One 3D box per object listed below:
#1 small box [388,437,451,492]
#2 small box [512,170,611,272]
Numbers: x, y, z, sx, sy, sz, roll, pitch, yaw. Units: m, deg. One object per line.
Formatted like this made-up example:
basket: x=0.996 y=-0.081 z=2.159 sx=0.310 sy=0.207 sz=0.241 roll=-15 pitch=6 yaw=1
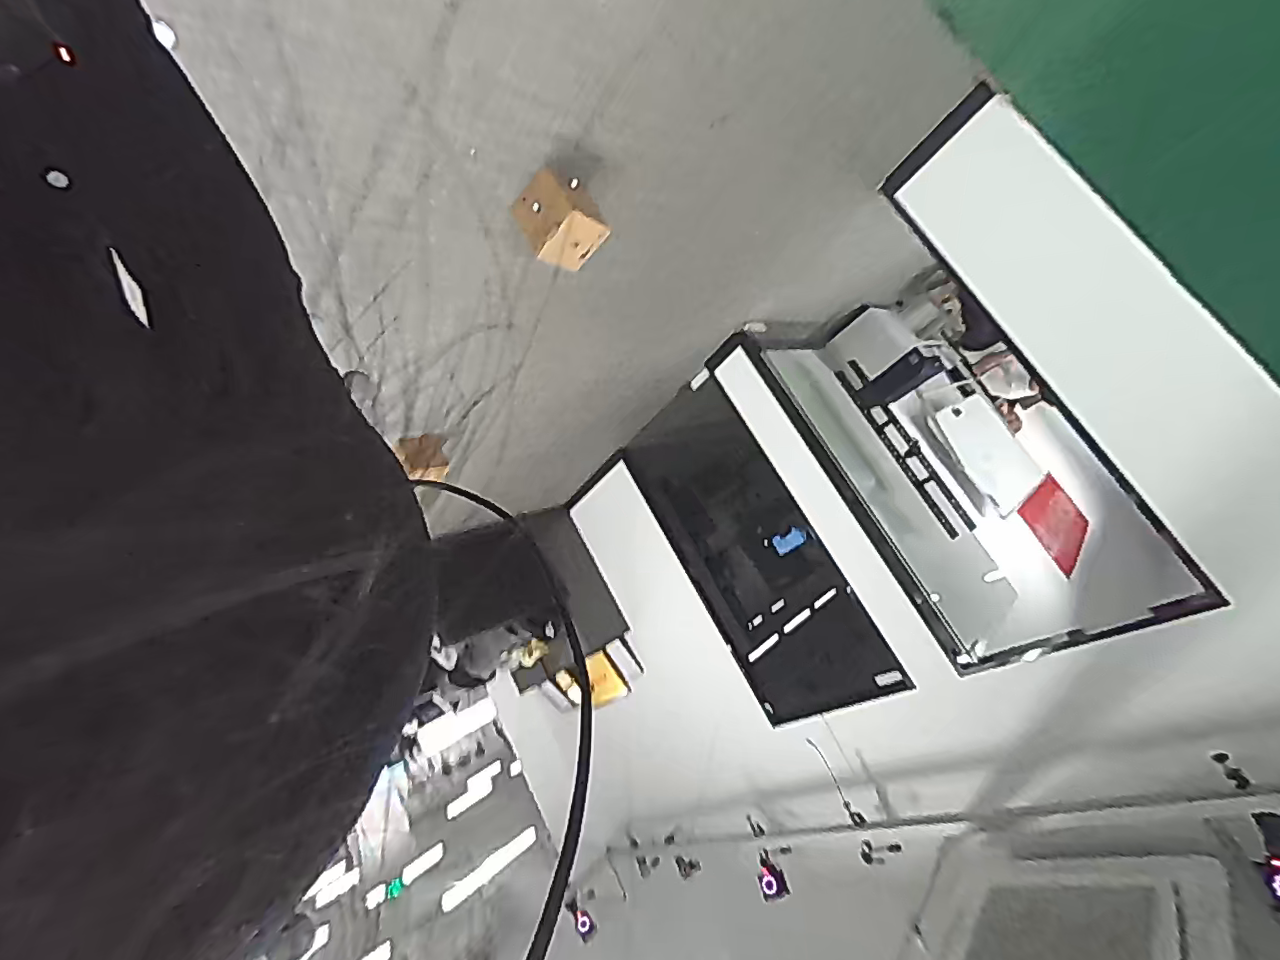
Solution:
small box: x=-0.955 y=-0.074 z=2.332 sx=0.179 sy=0.176 sz=0.168 roll=-15 pitch=159 yaw=-46
small box: x=-0.221 y=-0.716 z=1.498 sx=0.168 sy=0.176 sz=0.179 roll=-38 pitch=164 yaw=29
